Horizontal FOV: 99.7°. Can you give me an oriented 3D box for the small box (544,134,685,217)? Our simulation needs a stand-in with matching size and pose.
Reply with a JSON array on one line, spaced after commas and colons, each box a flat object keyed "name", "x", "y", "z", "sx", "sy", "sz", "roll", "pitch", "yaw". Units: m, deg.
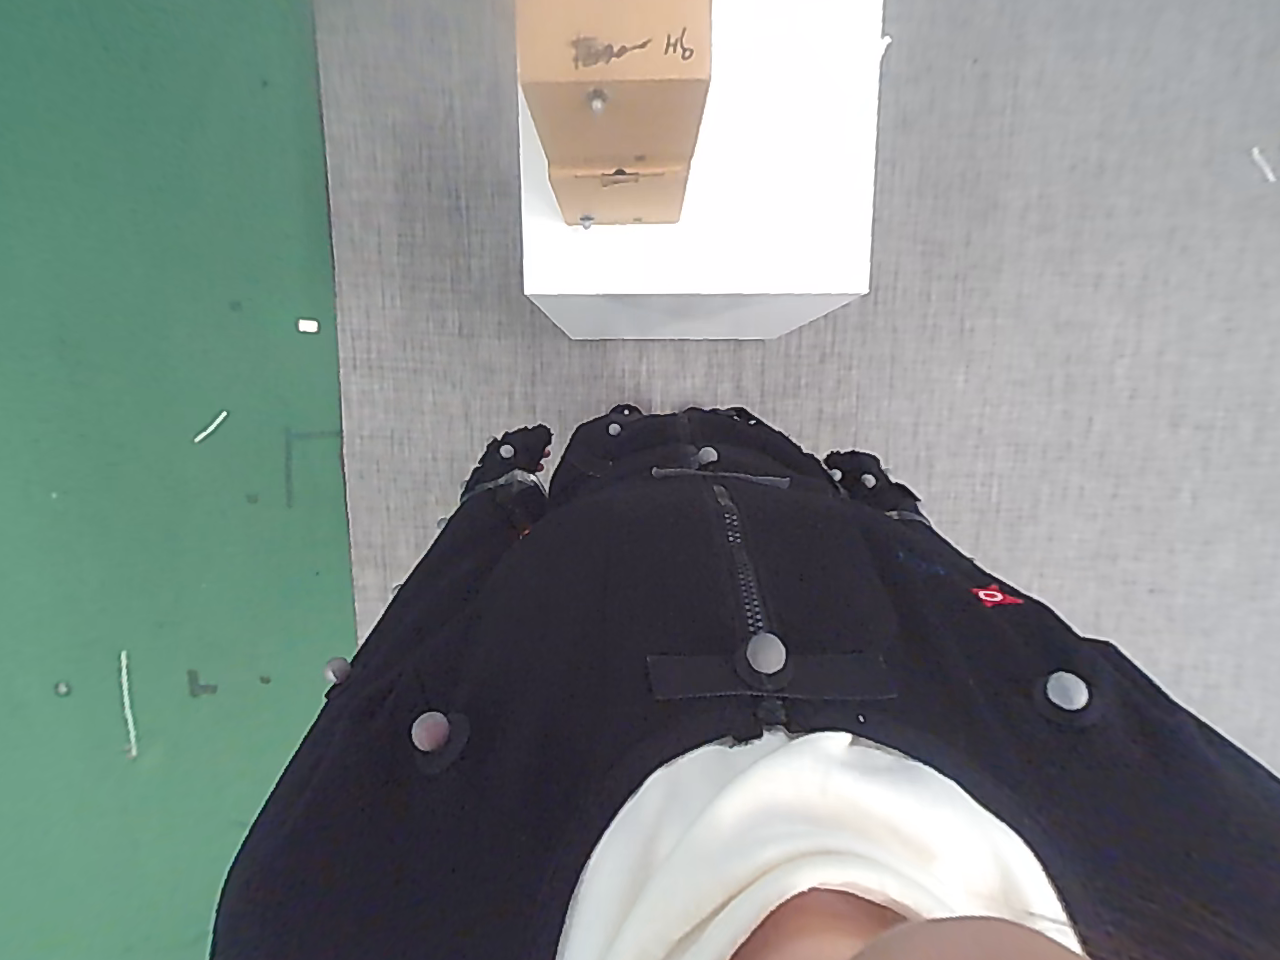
[{"name": "small box", "x": -0.028, "y": -0.451, "z": 0.693, "sx": 0.168, "sy": 0.176, "sz": 0.179, "roll": -1, "pitch": 97, "yaw": 0}]

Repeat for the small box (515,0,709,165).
[{"name": "small box", "x": -0.024, "y": -0.439, "z": 0.530, "sx": 0.168, "sy": 0.176, "sz": 0.179, "roll": -1, "pitch": 97, "yaw": 0}]
